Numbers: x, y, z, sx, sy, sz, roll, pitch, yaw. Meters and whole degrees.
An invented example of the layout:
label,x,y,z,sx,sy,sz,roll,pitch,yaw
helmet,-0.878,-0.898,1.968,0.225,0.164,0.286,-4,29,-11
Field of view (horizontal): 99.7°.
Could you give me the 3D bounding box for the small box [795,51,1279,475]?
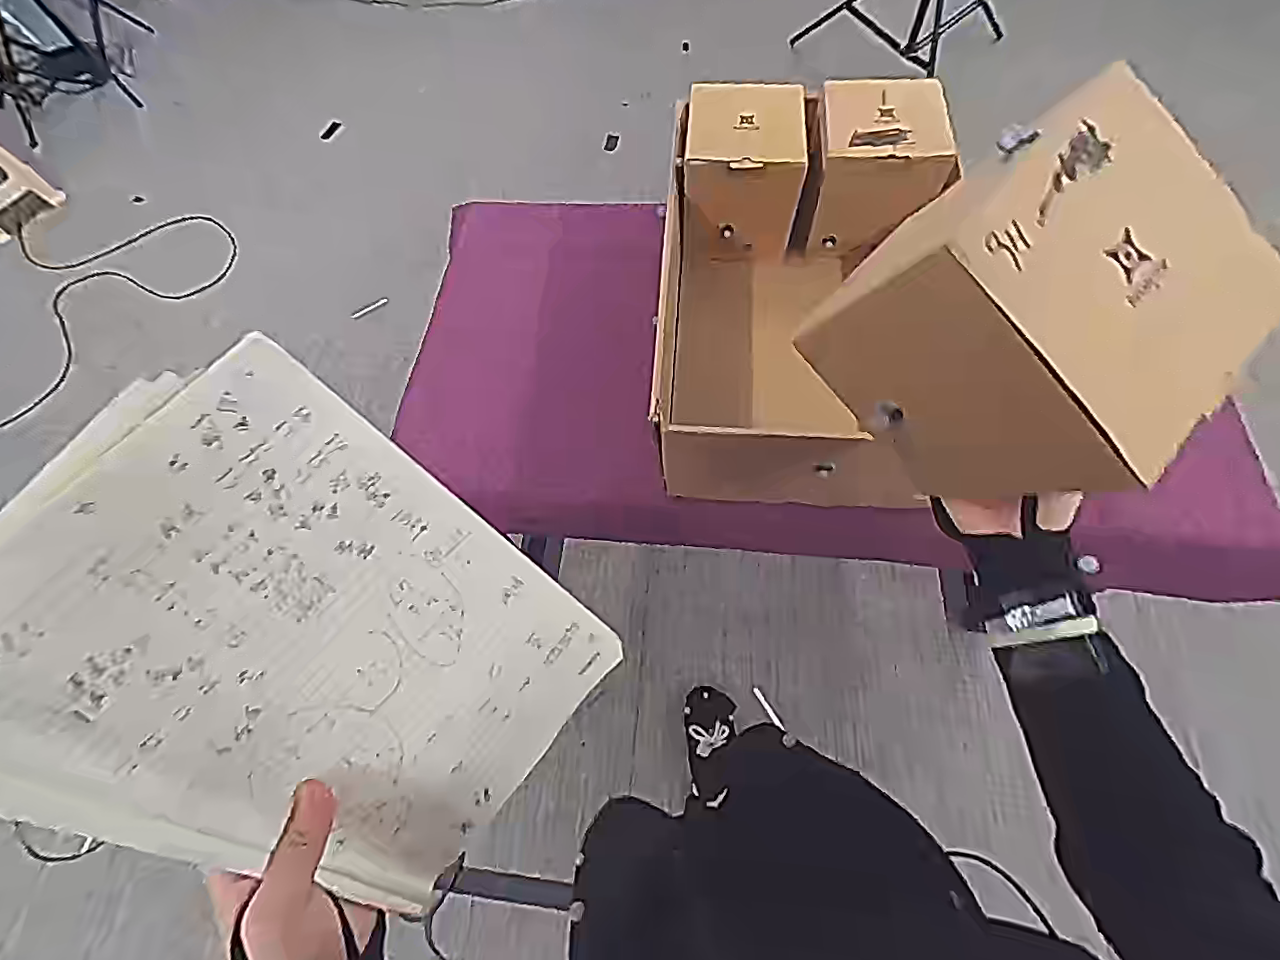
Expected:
label,x,y,z,sx,sy,sz,roll,pitch,yaw
small box,0.247,-0.119,0.373,0.168,0.176,0.179,-45,97,-10
